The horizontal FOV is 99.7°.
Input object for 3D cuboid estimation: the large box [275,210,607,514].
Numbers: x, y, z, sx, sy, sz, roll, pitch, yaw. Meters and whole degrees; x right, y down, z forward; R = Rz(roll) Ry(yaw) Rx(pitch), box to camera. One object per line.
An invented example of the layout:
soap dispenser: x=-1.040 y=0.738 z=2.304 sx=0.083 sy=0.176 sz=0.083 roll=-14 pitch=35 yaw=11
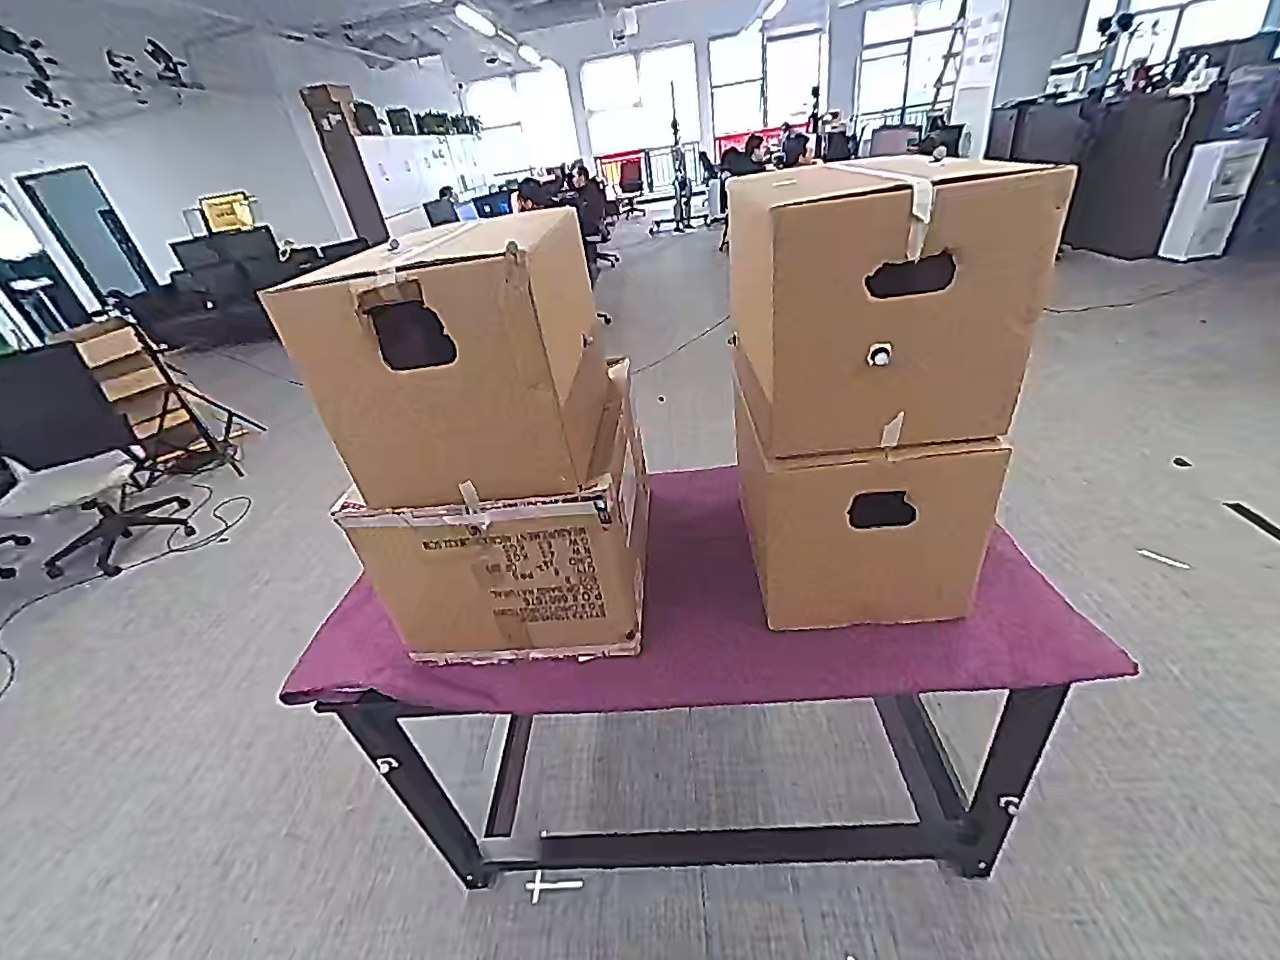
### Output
large box: x=-0.233 y=-0.200 z=0.828 sx=0.320 sy=0.320 sz=0.408 roll=-7 pitch=33 yaw=6
